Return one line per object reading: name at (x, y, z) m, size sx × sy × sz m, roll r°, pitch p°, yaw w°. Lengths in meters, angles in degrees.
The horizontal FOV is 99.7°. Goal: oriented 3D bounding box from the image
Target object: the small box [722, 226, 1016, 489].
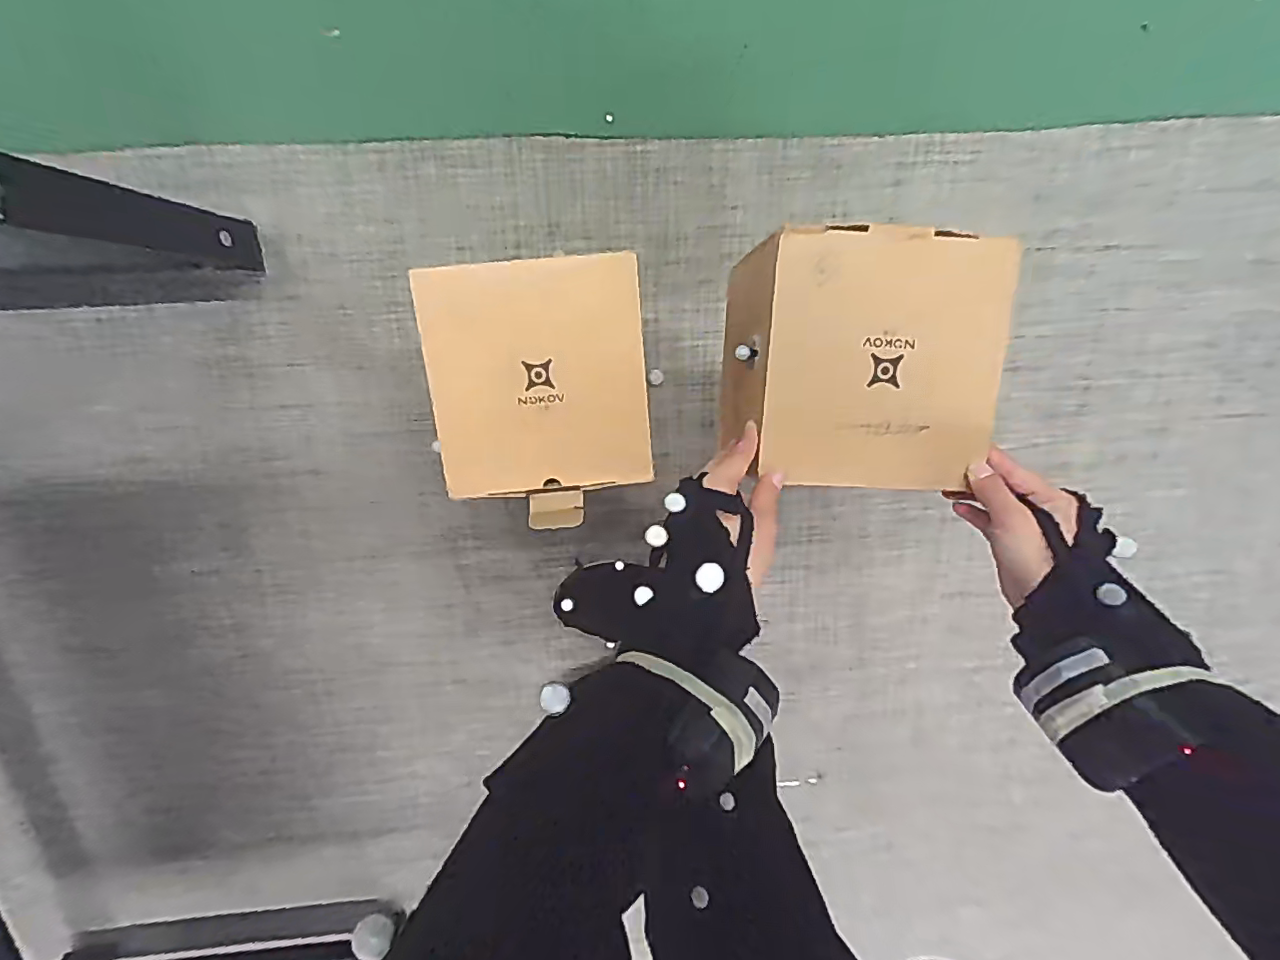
small box at (0.167, -0.095, 0.454) m, size 0.168 × 0.176 × 0.179 m, roll 1°, pitch 101°, yaw -2°
